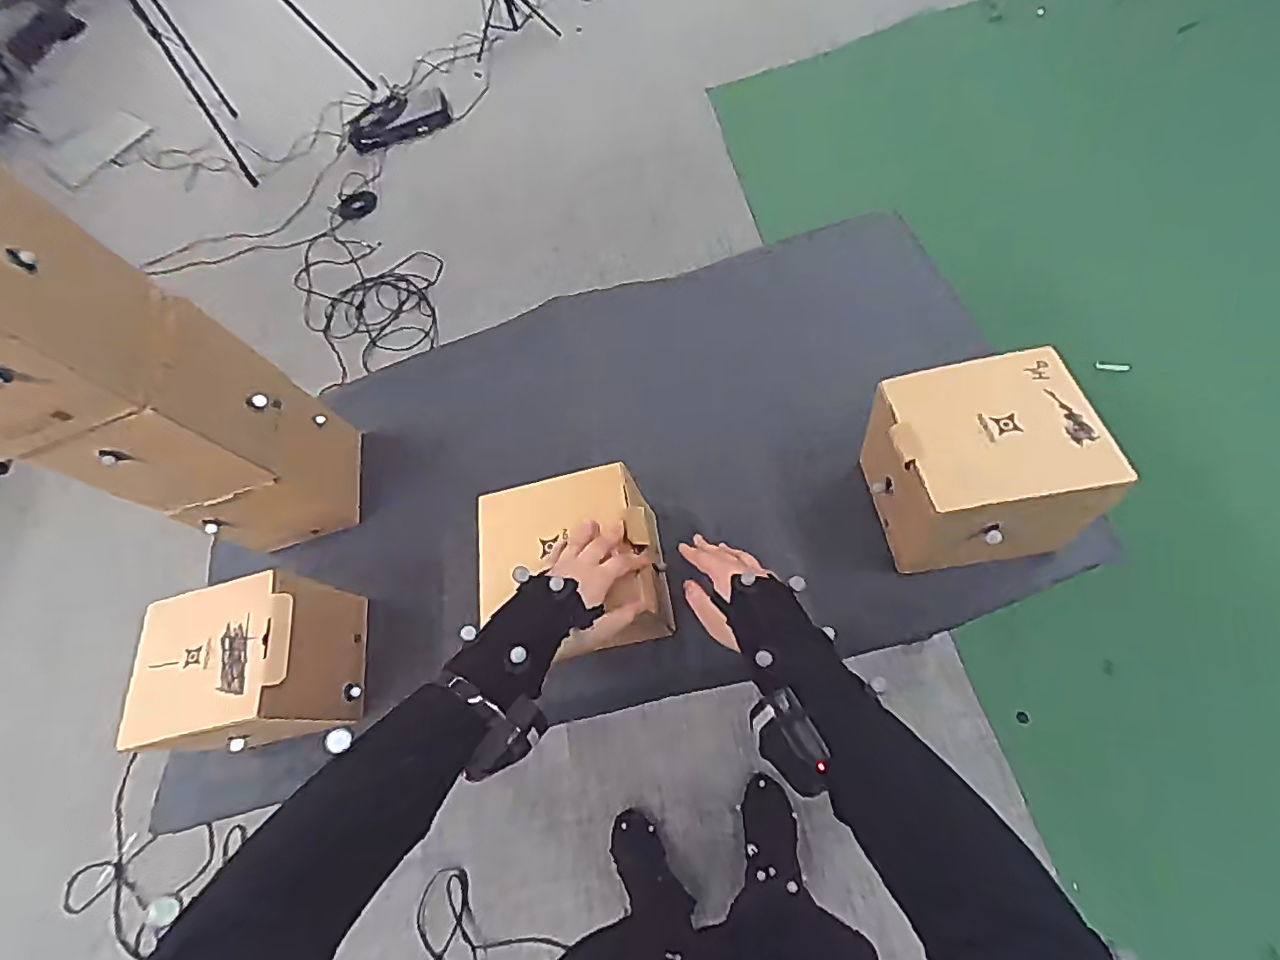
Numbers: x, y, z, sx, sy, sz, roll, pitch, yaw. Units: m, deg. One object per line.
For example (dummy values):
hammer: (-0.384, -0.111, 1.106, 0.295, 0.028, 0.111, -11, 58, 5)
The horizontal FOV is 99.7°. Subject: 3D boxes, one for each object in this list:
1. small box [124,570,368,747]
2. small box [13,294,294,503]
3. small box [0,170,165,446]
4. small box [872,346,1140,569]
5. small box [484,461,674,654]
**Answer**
small box: (-0.472, 0.227, 0.680, 0.179, 0.176, 0.168, -15, 64, 7)
small box: (-0.571, -0.088, 0.662, 0.179, 0.176, 0.168, -15, 64, 5)
small box: (-0.610, -0.152, 0.518, 0.168, 0.176, 0.179, -19, 62, 3)
small box: (0.367, -0.013, 0.591, 0.179, 0.176, 0.168, -11, 60, 9)
small box: (-0.068, 0.103, 0.647, 0.179, 0.176, 0.168, -13, 63, 7)
